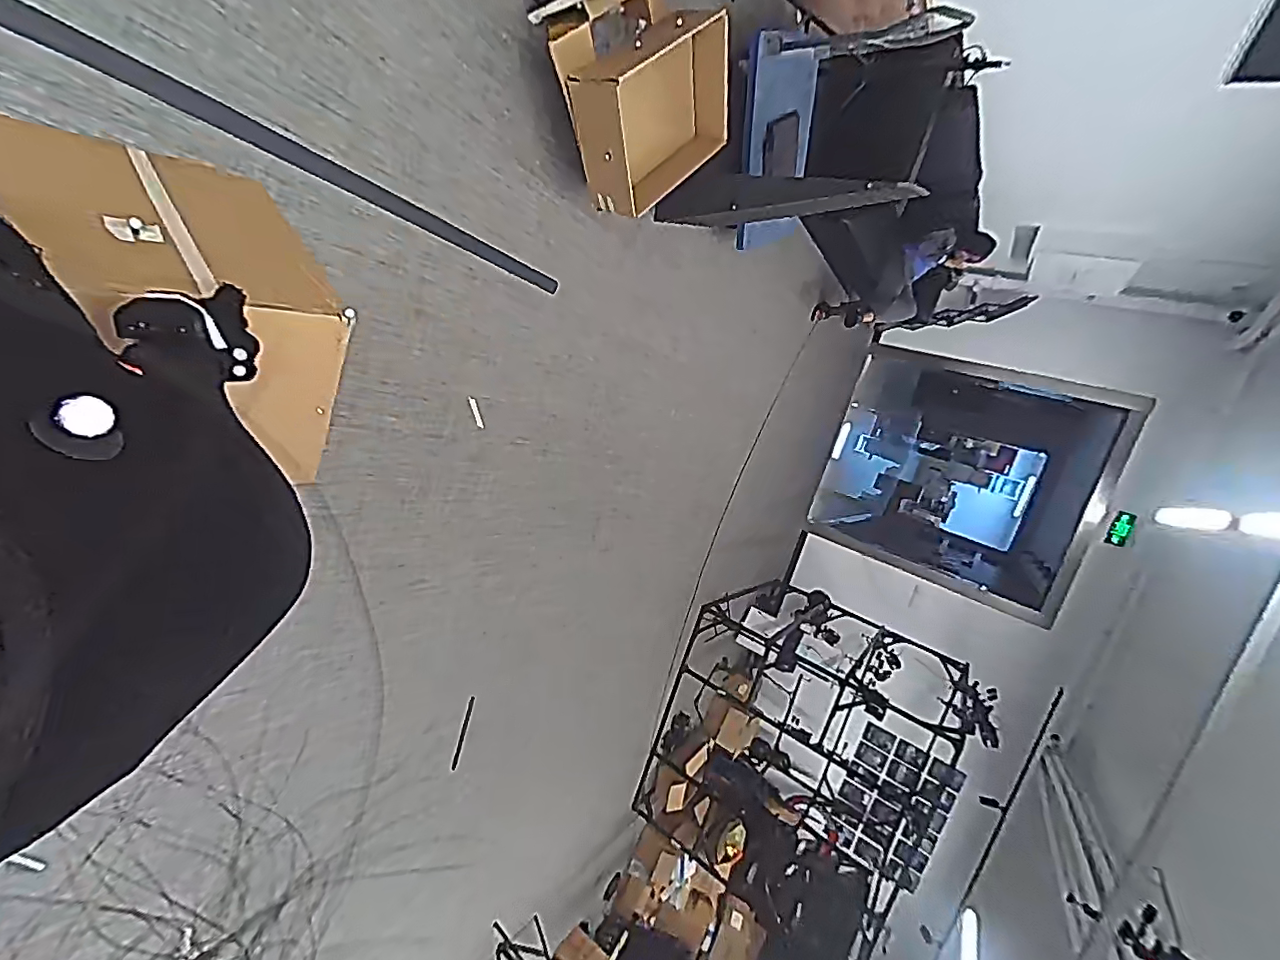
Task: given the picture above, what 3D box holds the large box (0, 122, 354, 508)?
[{"bbox_3d":[-0.682,-0.225,0.783,0.320,0.408,0.320,-13,145,-48],"label":"large box"}]
